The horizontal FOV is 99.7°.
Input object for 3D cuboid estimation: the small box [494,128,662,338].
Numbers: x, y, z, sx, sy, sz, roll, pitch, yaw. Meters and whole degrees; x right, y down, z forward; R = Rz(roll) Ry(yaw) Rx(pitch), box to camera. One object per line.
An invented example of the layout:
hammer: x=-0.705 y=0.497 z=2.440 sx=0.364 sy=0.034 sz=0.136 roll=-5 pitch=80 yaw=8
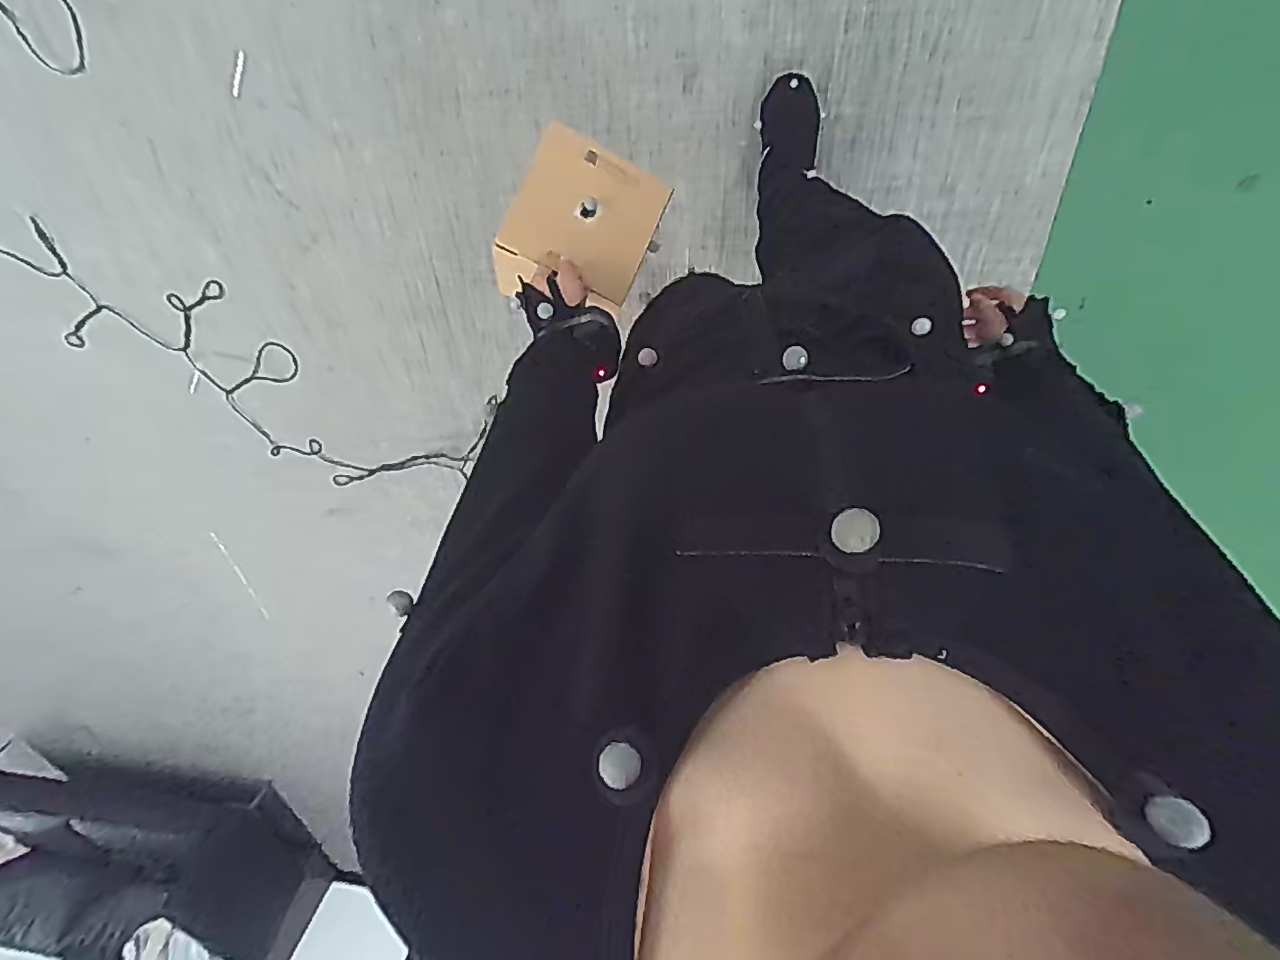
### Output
small box: x=-0.084 y=-0.320 z=0.726 sx=0.168 sy=0.179 sz=0.176 roll=23 pitch=86 yaw=-11
